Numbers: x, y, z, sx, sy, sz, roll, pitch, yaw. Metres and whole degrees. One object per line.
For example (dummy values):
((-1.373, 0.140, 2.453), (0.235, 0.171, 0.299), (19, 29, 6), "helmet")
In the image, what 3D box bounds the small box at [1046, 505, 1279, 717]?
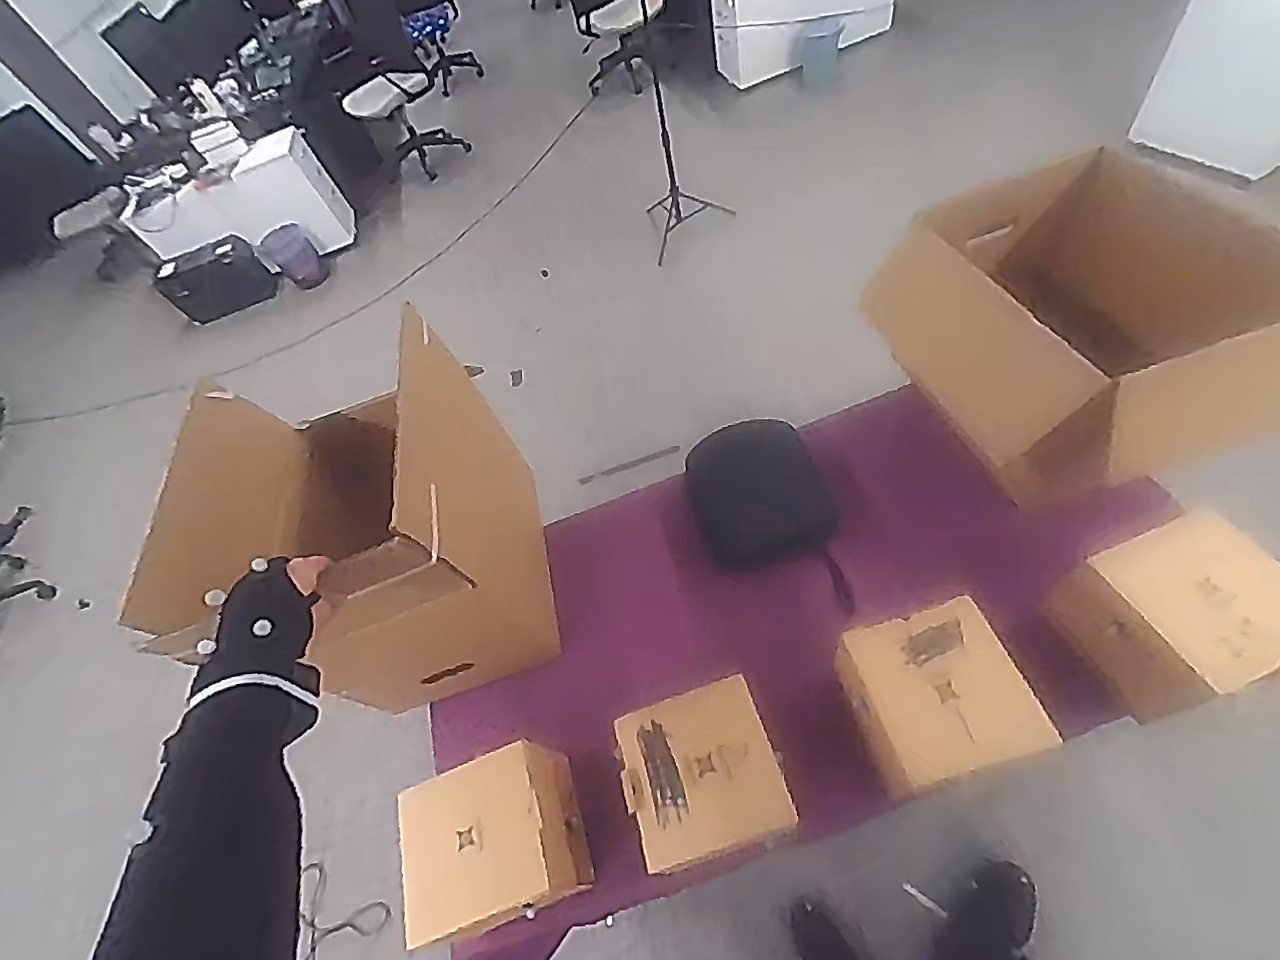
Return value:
((0.660, 0.167, 0.670), (0.168, 0.176, 0.179), (-24, 54, 1), "small box")

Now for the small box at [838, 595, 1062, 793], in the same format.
((0.366, 0.275, 0.685), (0.168, 0.176, 0.179), (-19, 54, 4), "small box")

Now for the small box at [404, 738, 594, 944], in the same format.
((-0.181, 0.469, 0.711), (0.179, 0.176, 0.168), (-23, 54, -2), "small box")
